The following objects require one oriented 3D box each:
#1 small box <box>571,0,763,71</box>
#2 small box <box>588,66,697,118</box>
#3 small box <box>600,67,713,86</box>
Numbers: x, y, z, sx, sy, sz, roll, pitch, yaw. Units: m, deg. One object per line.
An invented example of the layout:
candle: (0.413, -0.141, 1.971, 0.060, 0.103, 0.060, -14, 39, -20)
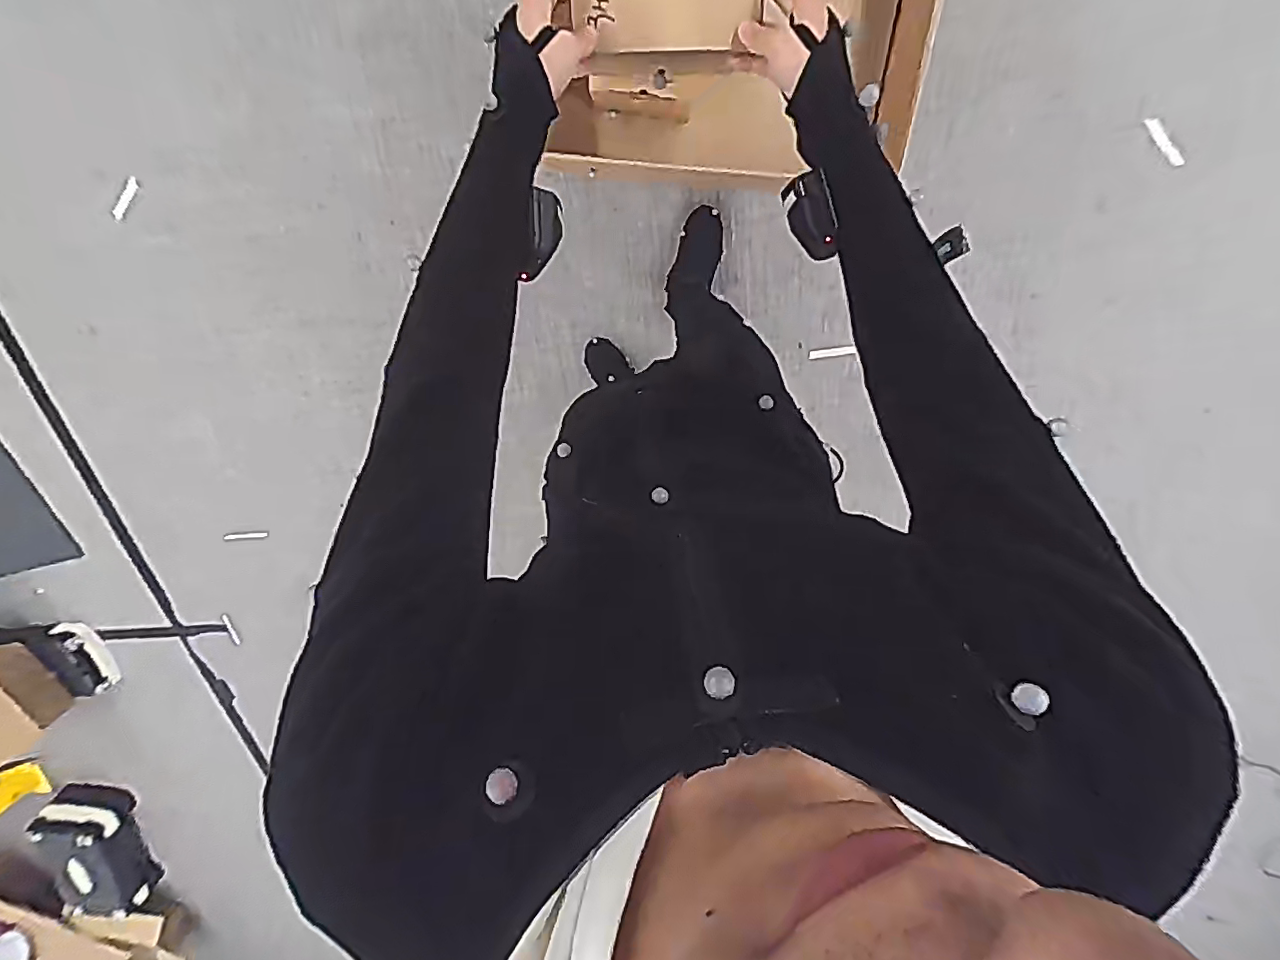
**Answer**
small box: (0.021, -0.512, 0.524, 0.179, 0.176, 0.168, -1, 120, -1)
small box: (0.015, -0.687, 0.842, 0.168, 0.176, 0.179, 6, 114, -3)
small box: (0.024, -0.629, 0.690, 0.168, 0.176, 0.179, 3, 114, -1)
